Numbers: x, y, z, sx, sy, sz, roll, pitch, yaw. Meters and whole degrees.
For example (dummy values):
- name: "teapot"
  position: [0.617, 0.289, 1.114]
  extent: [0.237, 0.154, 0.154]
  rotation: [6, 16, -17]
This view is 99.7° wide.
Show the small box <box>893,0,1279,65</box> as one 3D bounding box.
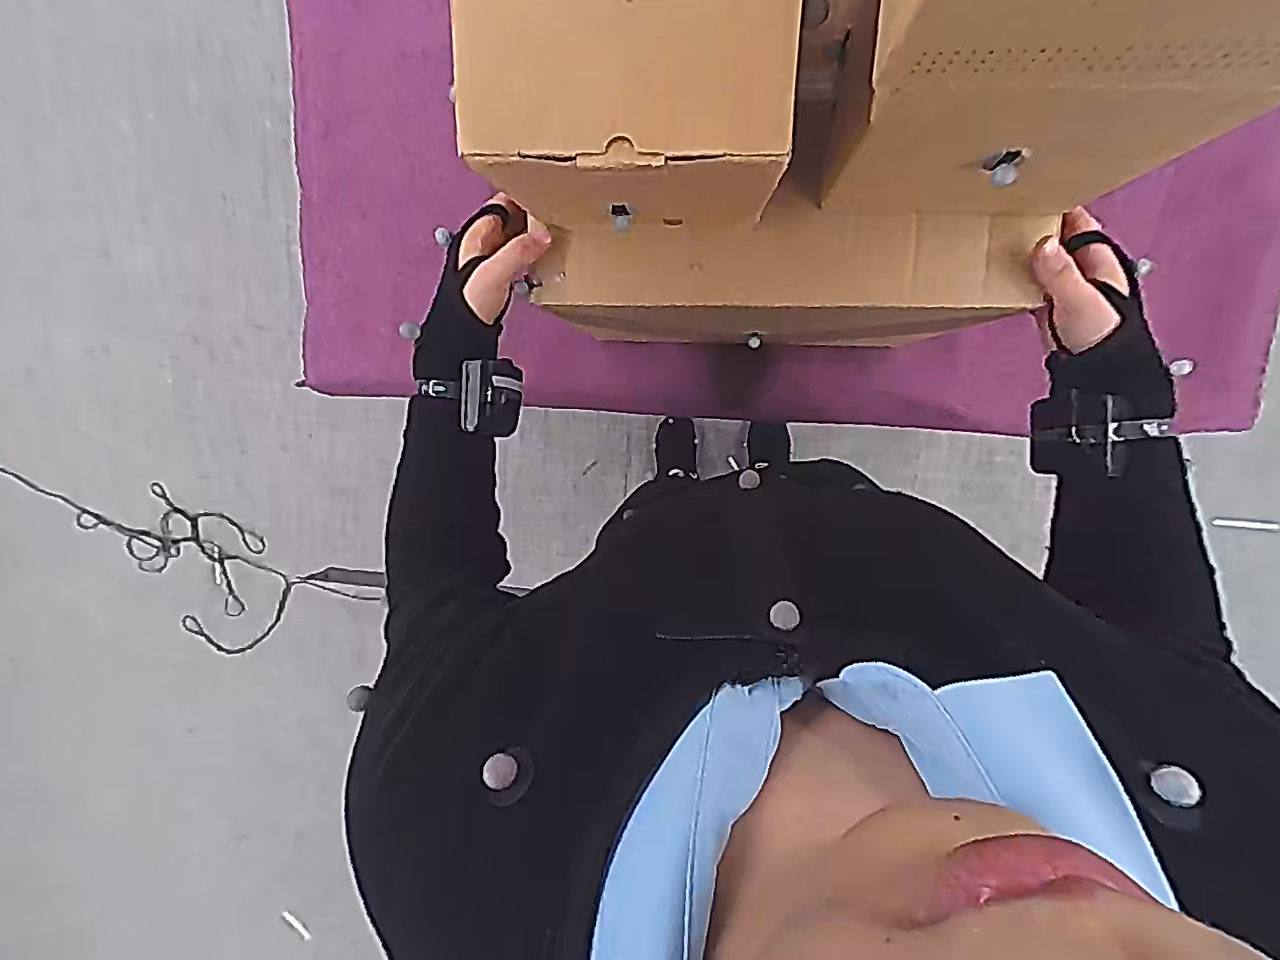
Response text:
- name: "small box"
  position: [0.185, -0.242, 0.137]
  extent: [0.179, 0.176, 0.168]
  rotation: [4, 100, 6]
